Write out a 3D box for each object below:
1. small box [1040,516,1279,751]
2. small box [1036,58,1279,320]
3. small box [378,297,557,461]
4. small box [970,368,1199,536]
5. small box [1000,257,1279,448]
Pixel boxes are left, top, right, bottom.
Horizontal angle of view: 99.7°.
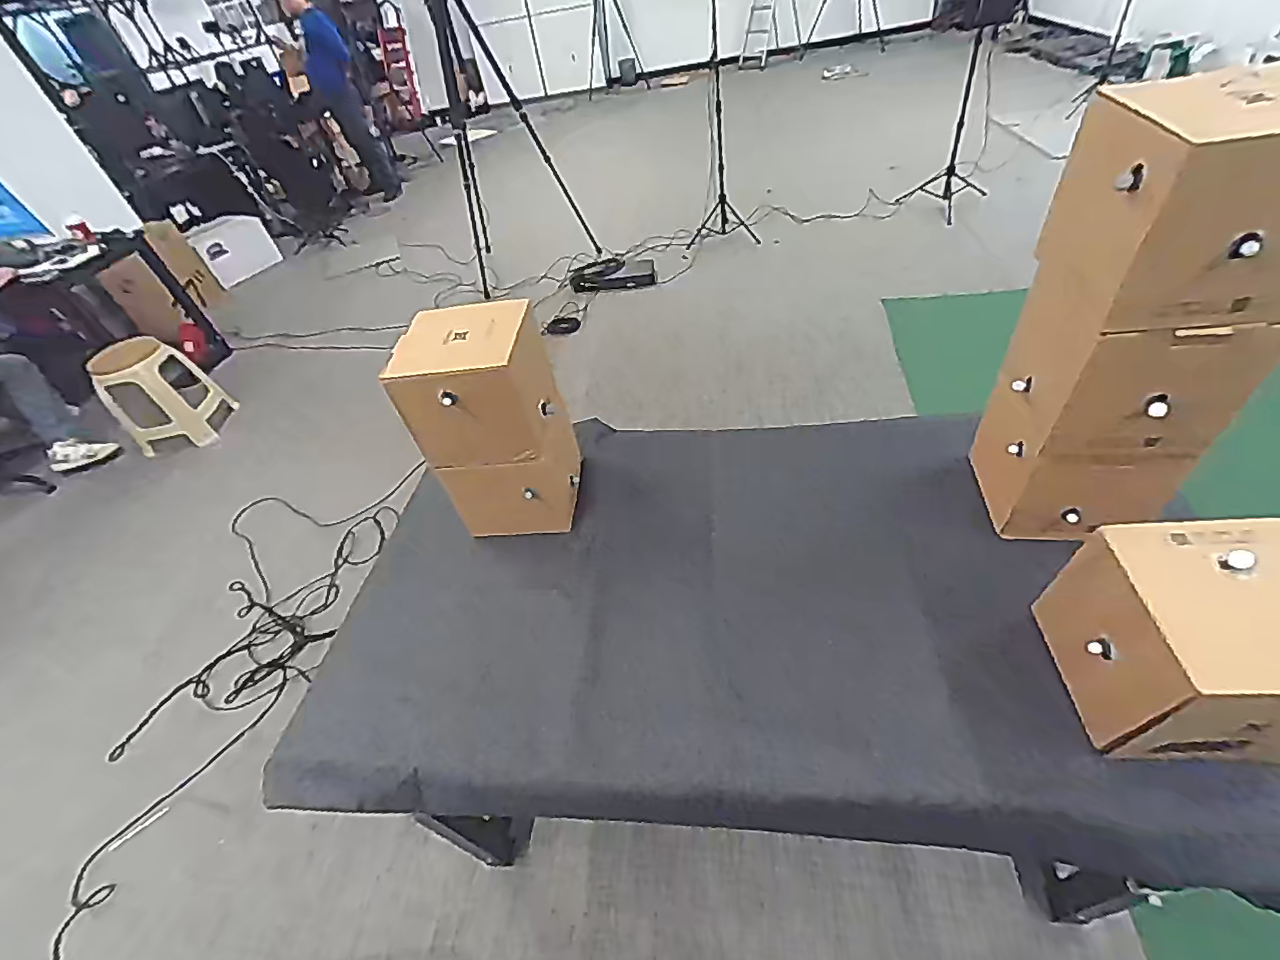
[{"bbox_3d":[0.539,0.153,0.534,0.168,0.179,0.176,-4,49,8],"label":"small box"},{"bbox_3d":[0.519,-0.264,0.508,0.168,0.176,0.179,-1,47,11],"label":"small box"},{"bbox_3d":[-0.234,-0.142,0.785,0.179,0.176,0.168,-4,48,7],"label":"small box"},{"bbox_3d":[0.581,-0.042,0.743,0.168,0.176,0.179,0,47,12],"label":"small box"},{"bbox_3d":[0.552,-0.150,0.624,0.168,0.176,0.179,0,48,13],"label":"small box"}]
